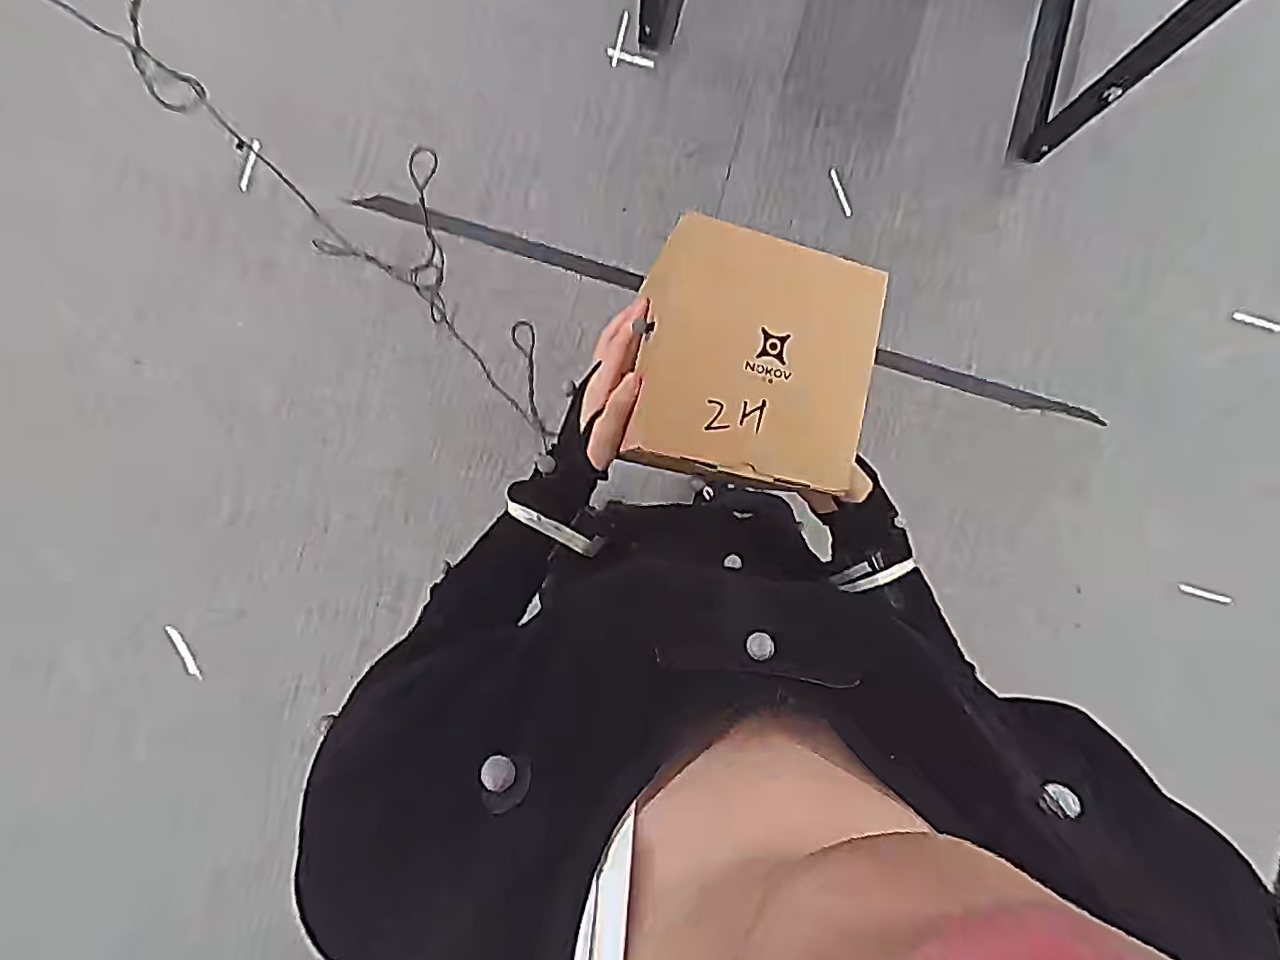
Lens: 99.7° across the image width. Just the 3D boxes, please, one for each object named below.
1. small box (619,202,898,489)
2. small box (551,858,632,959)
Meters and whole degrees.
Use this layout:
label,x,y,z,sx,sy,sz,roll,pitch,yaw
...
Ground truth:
label,x,y,z,sx,sy,sz,roll,pitch,yaw
small box,0.084,-0.094,0.465,0.168,0.176,0.179,11,88,-10
small box,-0.122,1.104,1.376,0.179,0.176,0.168,10,88,-3
